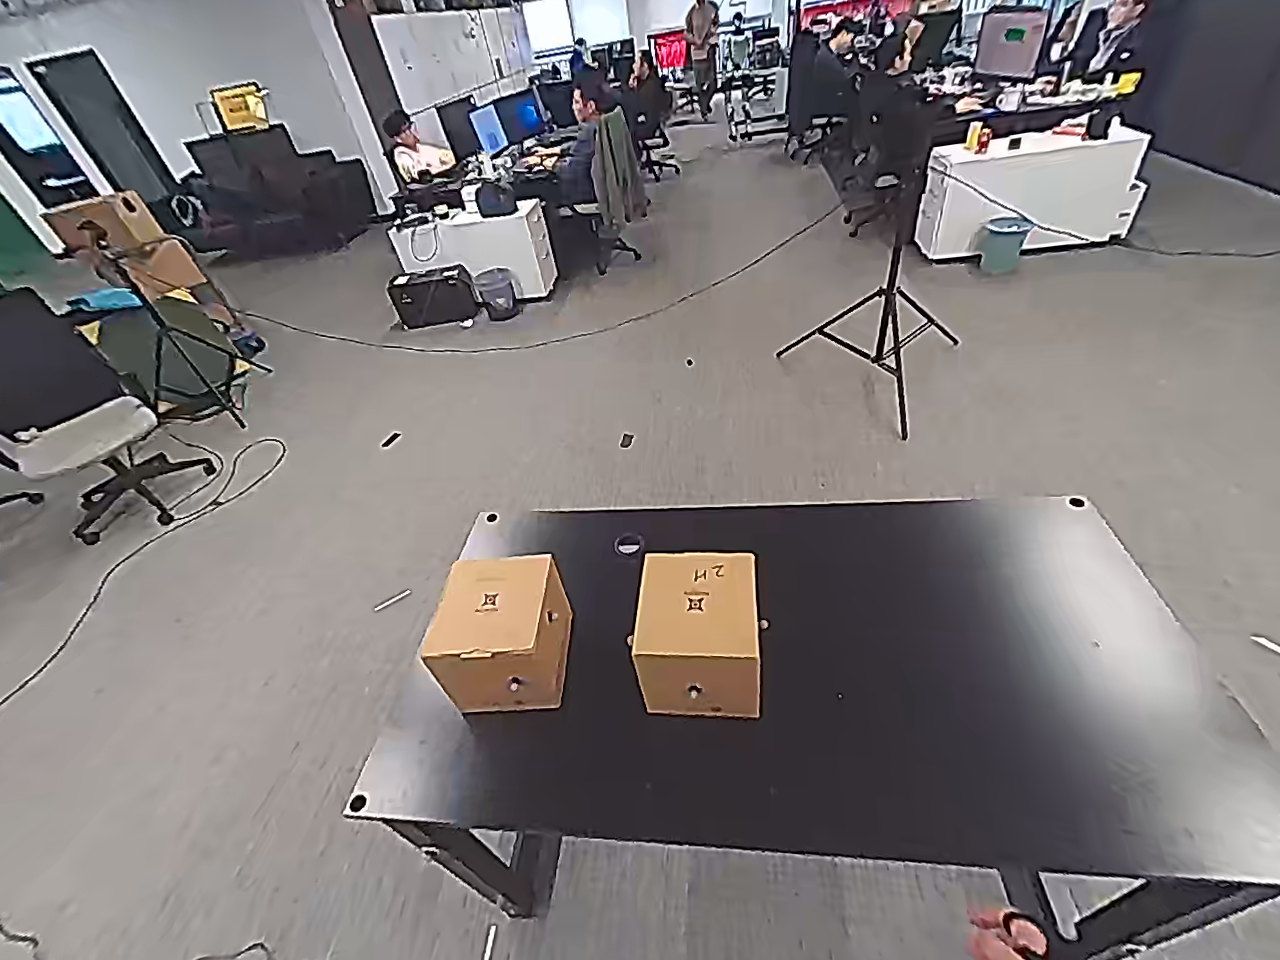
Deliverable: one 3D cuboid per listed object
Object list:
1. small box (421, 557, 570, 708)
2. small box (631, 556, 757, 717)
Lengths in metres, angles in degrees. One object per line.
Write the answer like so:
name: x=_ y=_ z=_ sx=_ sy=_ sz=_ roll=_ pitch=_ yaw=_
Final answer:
small box: x=-0.214 y=0.247 z=0.859 sx=0.168 sy=0.176 sz=0.179 roll=-5 pitch=40 yaw=5
small box: x=0.089 y=0.233 z=0.807 sx=0.168 sy=0.176 sz=0.179 roll=-1 pitch=41 yaw=10
